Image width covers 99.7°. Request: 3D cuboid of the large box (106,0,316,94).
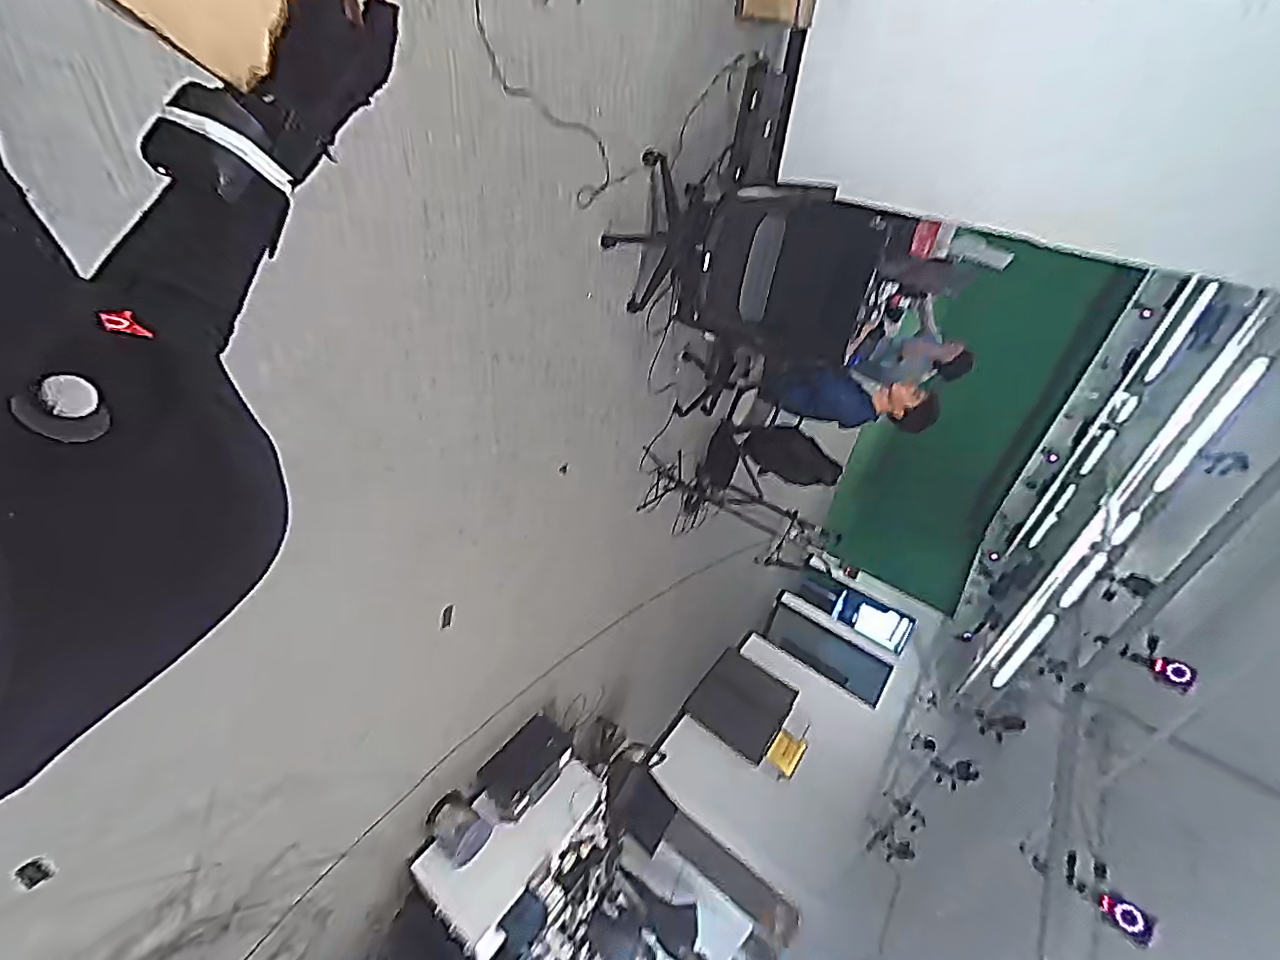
[{"bbox_3d":[-0.400,-0.535,0.292,0.320,0.320,0.408,-54,155,7],"label":"large box"}]
